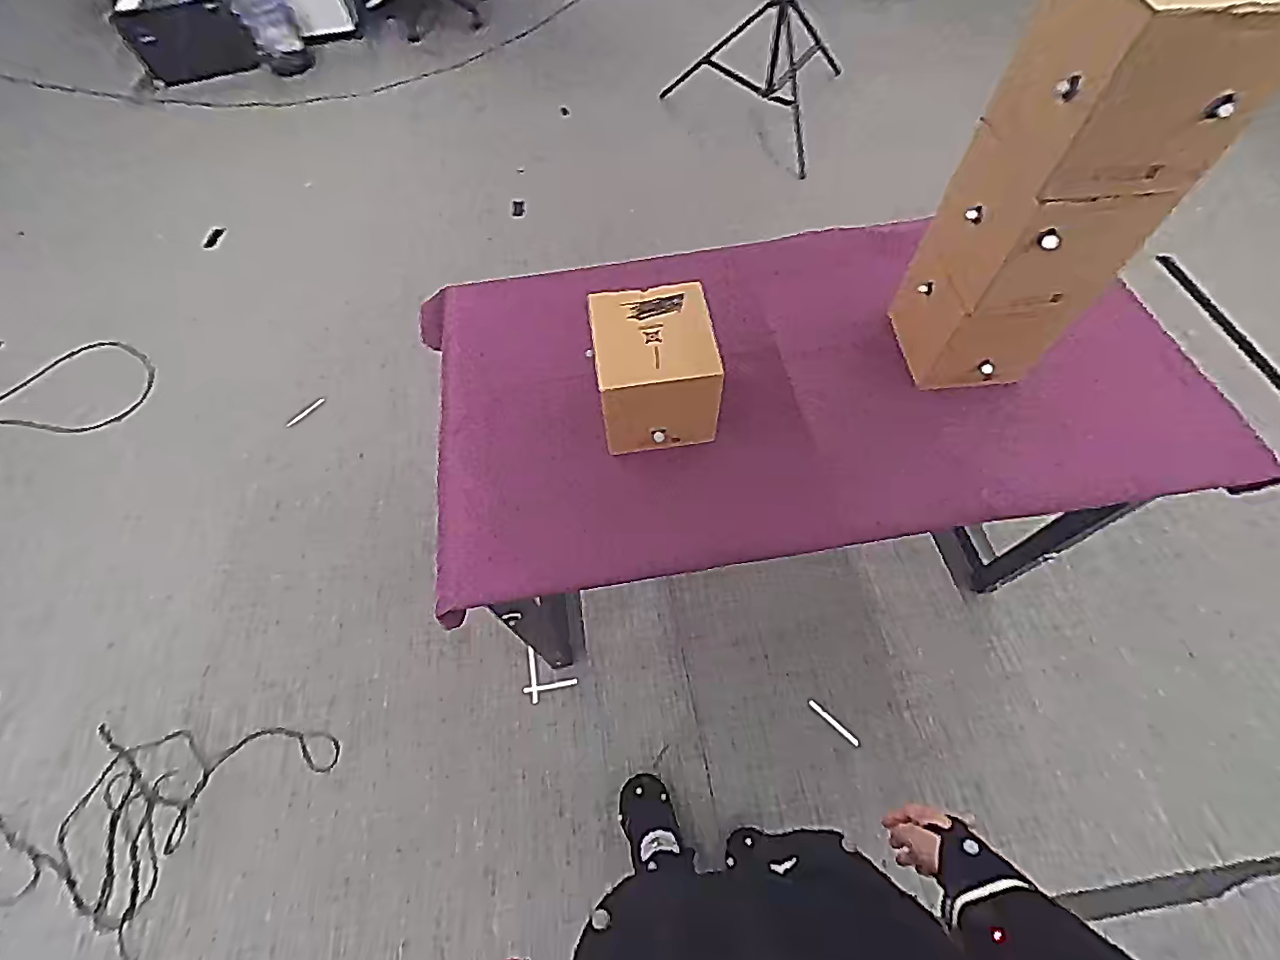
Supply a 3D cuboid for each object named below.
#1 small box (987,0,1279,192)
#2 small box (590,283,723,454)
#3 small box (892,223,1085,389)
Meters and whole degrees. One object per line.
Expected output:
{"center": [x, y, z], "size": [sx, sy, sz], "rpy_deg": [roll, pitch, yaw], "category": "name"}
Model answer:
{"center": [0.497, -0.415, 0.546], "size": [0.168, 0.176, 0.179], "rpy_deg": [-2, 60, 1], "category": "small box"}
{"center": [0.020, -0.161, 0.806], "size": [0.168, 0.176, 0.179], "rpy_deg": [-8, 62, -1], "category": "small box"}
{"center": [0.516, -0.265, 0.836], "size": [0.168, 0.176, 0.179], "rpy_deg": [-5, 61, 1], "category": "small box"}
